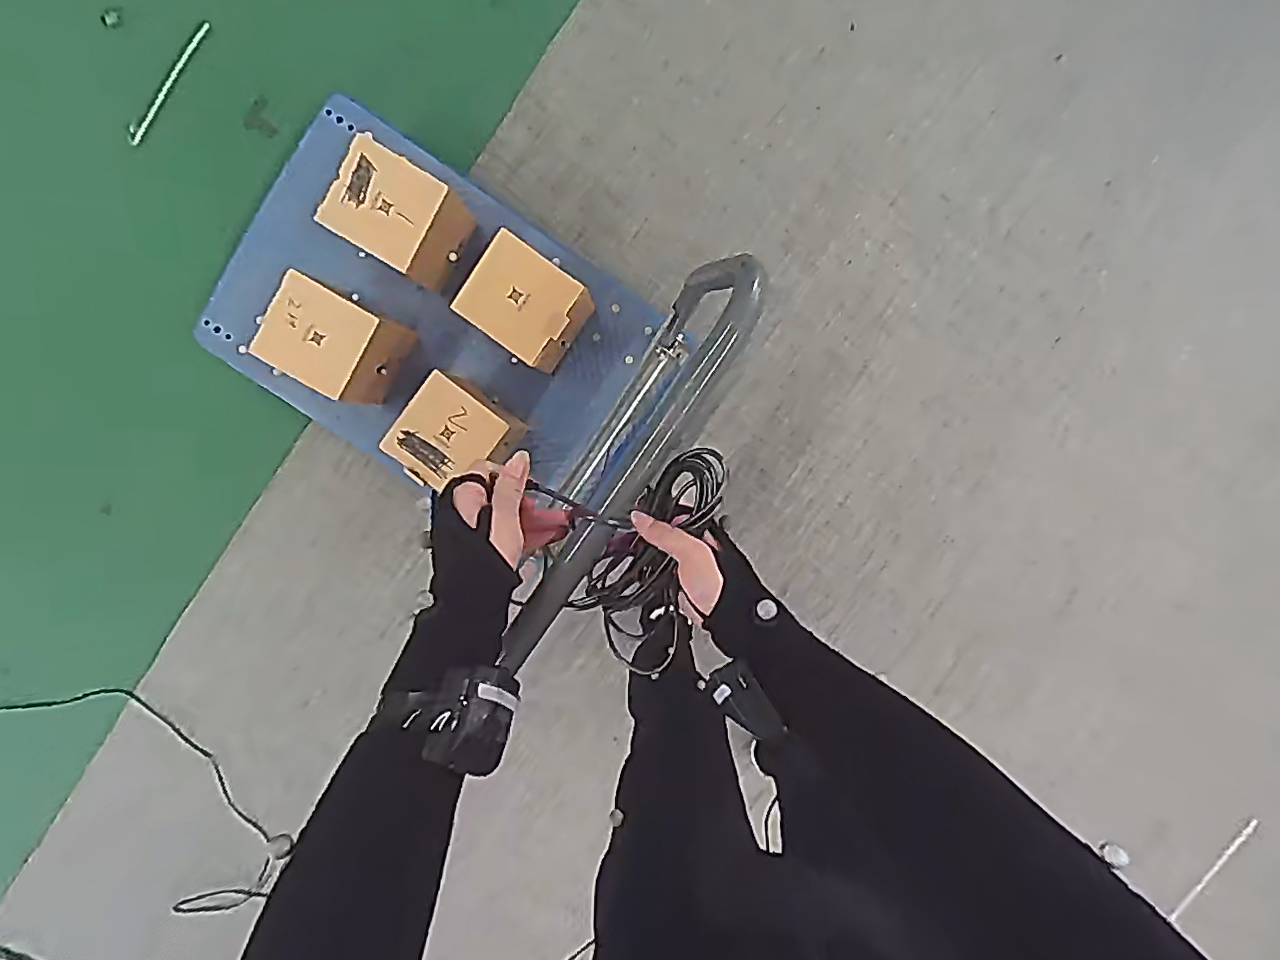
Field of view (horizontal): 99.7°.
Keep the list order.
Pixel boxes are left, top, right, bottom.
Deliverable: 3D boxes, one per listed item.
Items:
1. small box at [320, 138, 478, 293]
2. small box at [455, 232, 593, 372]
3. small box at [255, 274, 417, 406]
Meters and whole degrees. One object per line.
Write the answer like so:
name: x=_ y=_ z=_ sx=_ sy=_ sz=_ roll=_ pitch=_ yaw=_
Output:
small box: x=-0.429 y=-0.469 z=0.992 sx=0.179 sy=0.176 sz=0.168 roll=30 pitch=96 yaw=-4
small box: x=-0.206 y=-0.318 z=1.010 sx=0.179 sy=0.176 sz=0.168 roll=35 pitch=95 yaw=-4
small box: x=-0.556 y=-0.252 z=1.016 sx=0.179 sy=0.176 sz=0.168 roll=30 pitch=94 yaw=-3
